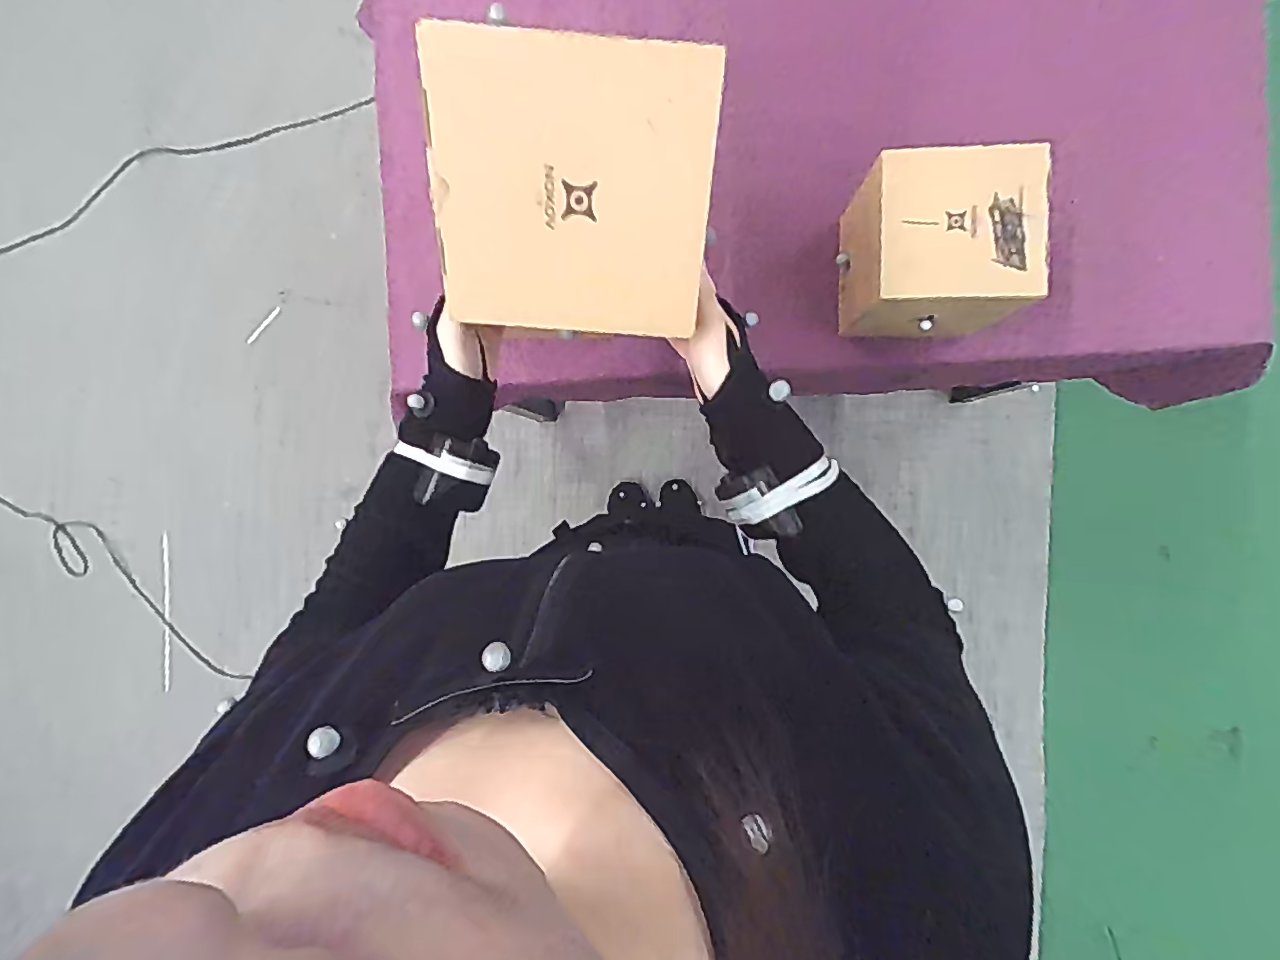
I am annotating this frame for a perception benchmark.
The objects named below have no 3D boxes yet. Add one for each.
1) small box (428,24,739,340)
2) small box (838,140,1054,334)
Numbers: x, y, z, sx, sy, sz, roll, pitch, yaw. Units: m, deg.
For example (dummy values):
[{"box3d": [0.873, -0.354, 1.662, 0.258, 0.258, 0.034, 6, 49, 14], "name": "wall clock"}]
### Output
[{"box3d": [-0.035, -0.215, 0.406, 0.179, 0.176, 0.168, 5, 121, 0], "name": "small box"}, {"box3d": [0.356, -0.281, 0.659, 0.179, 0.176, 0.168, 1, 91, 6], "name": "small box"}]
